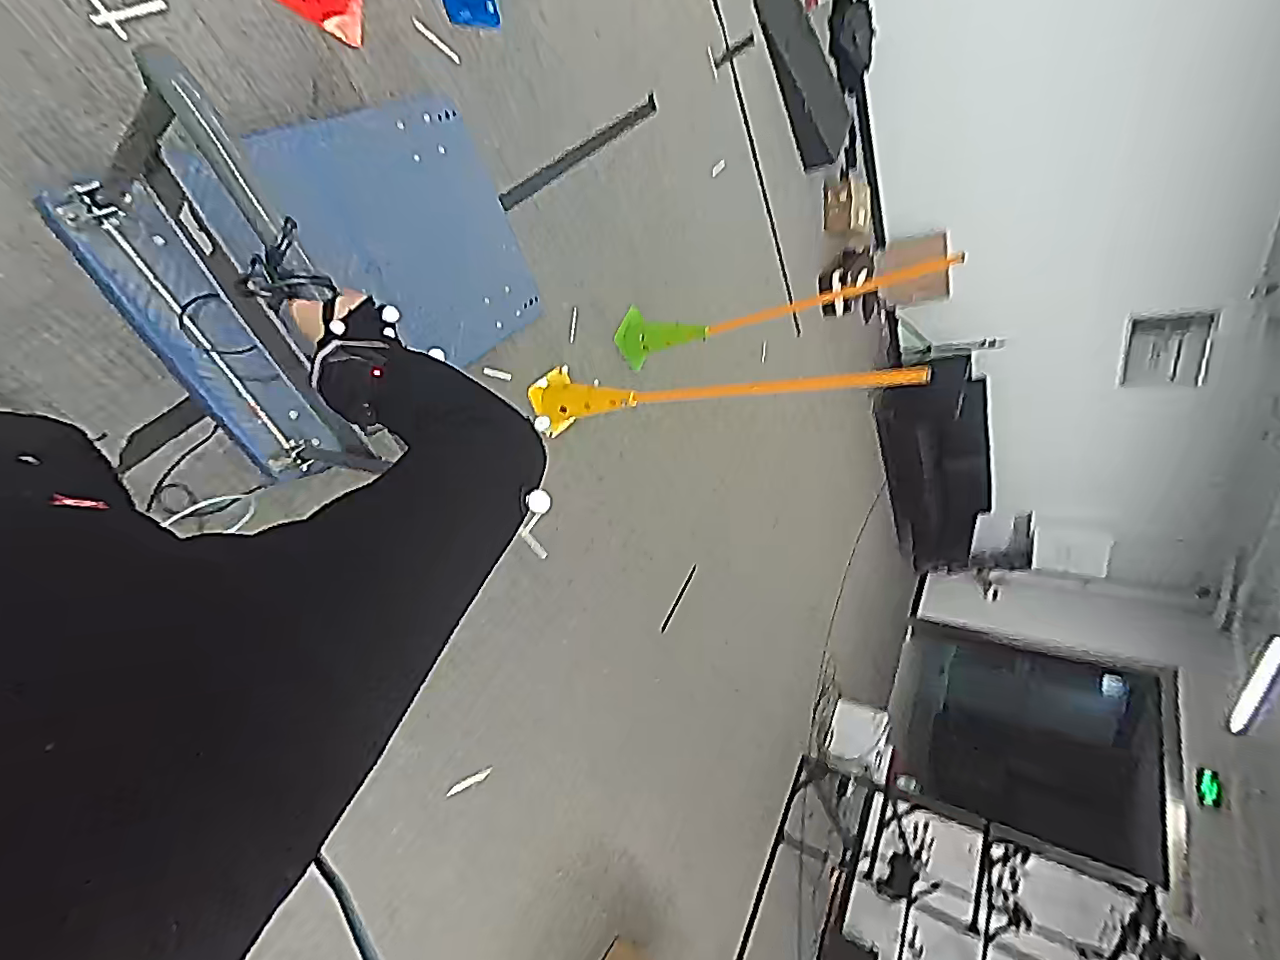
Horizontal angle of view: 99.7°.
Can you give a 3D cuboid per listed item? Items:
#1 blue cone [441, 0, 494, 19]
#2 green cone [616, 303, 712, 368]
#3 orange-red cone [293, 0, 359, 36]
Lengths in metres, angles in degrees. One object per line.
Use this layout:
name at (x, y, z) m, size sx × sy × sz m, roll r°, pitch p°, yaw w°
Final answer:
blue cone at (-0.371, -1.389, 1.406) m, size 0.192 × 0.380 × 0.193 m, roll -41°, pitch 125°, yaw -41°
green cone at (0.116, -0.578, 2.114) m, size 0.200 × 0.368 × 0.202 m, roll 47°, pitch 59°, yaw -44°
orange-red cone at (-0.597, -1.140, 1.117) m, size 0.199 × 0.360 × 0.198 m, roll 1°, pitch 94°, yaw -54°
